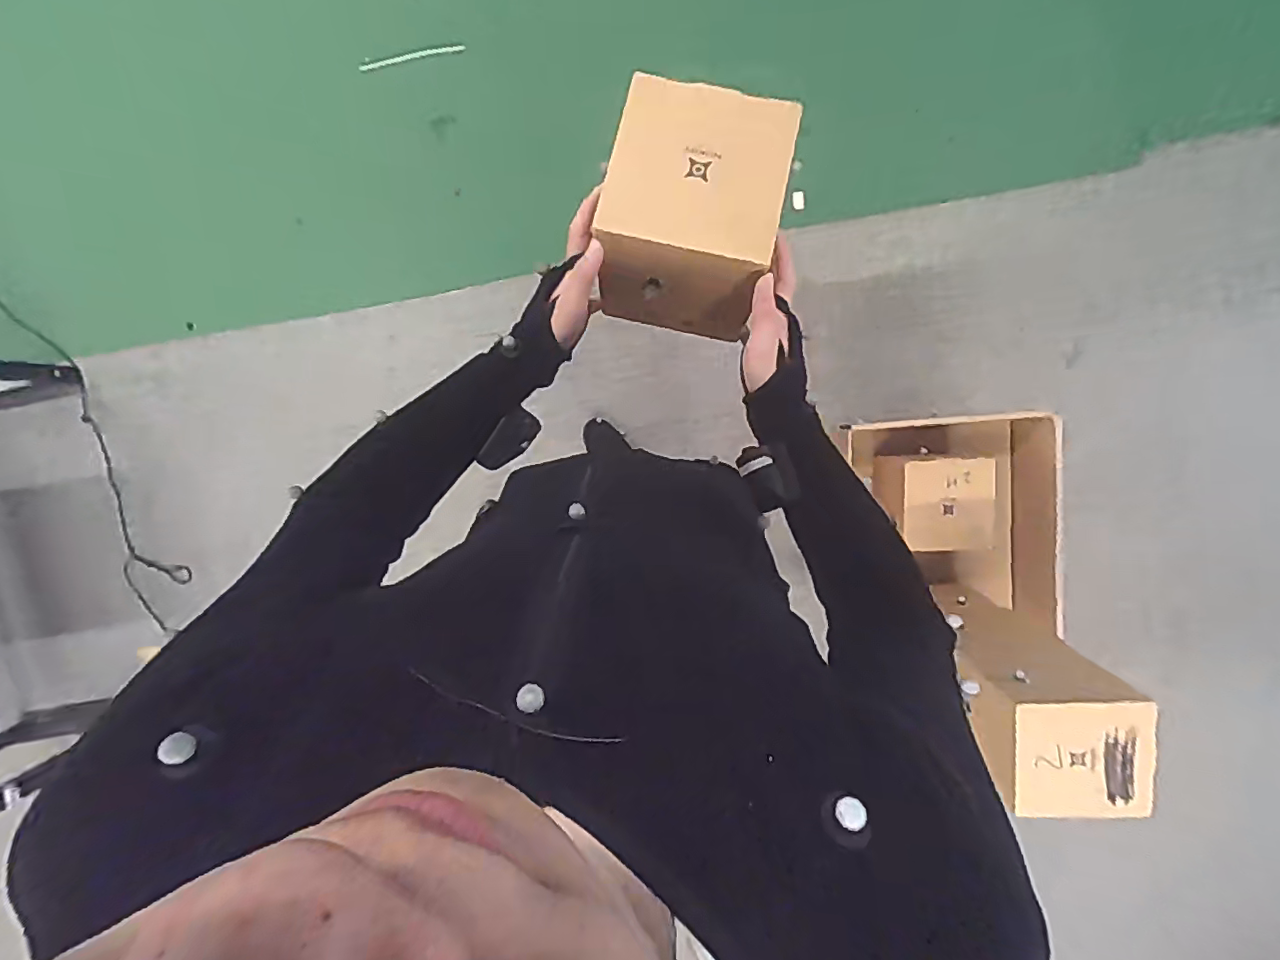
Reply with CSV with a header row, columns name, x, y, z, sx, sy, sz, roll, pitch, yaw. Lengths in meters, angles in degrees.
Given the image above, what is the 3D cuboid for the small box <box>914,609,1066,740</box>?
name,x,y,z,sx,sy,sz,roll,pitch,yaw
small box,0.606,0.336,0.958,0.179,0.176,0.168,-4,97,4

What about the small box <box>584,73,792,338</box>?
name,x,y,z,sx,sy,sz,roll,pitch,yaw
small box,0.047,-0.274,0.573,0.168,0.176,0.179,12,79,2
